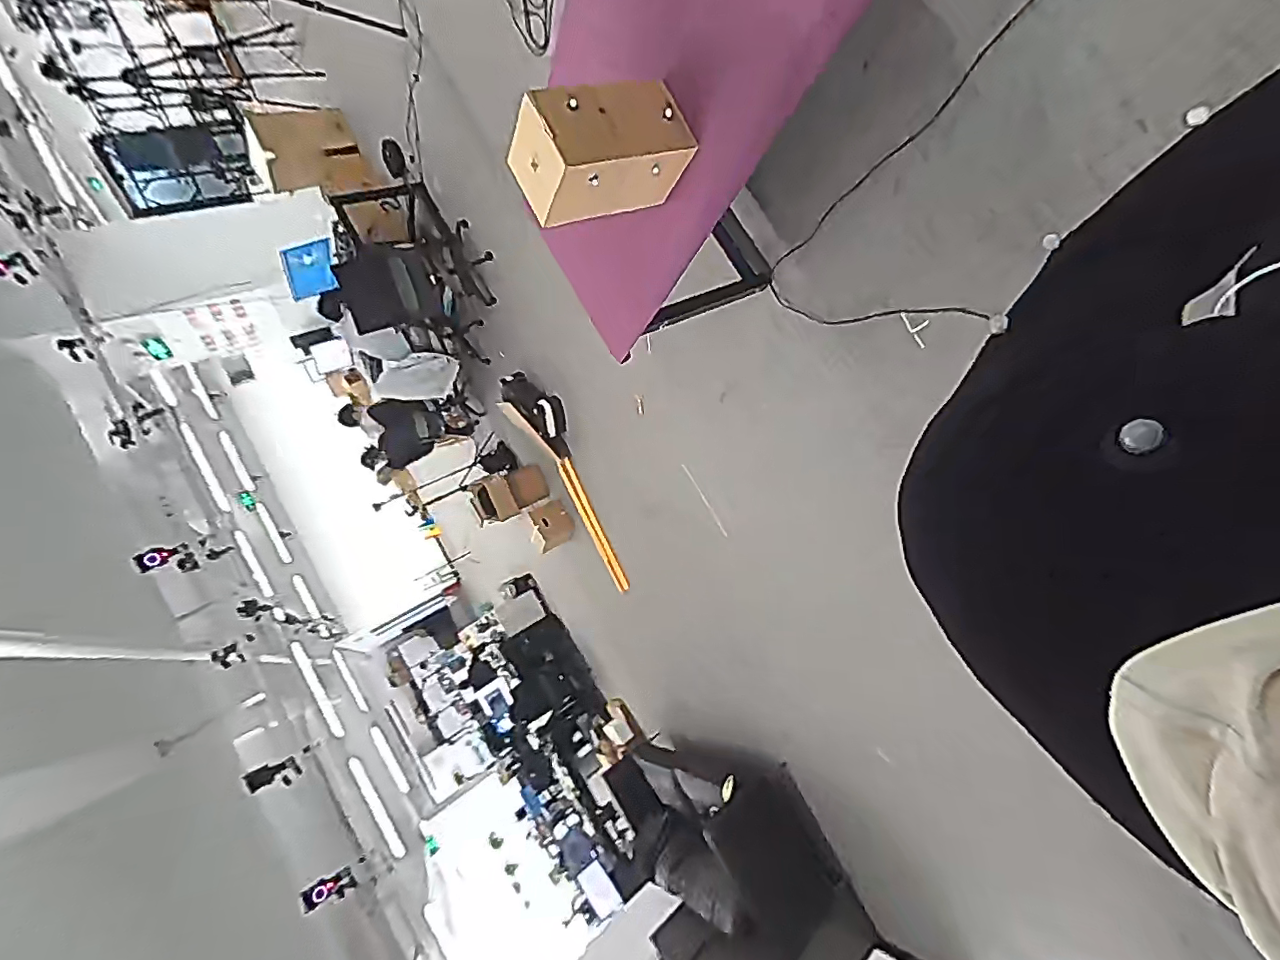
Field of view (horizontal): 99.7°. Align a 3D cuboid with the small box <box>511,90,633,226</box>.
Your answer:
[{"bbox_3d":[-0.135,-0.655,1.099,0.168,0.176,0.179,63,152,2],"label":"small box"}]
